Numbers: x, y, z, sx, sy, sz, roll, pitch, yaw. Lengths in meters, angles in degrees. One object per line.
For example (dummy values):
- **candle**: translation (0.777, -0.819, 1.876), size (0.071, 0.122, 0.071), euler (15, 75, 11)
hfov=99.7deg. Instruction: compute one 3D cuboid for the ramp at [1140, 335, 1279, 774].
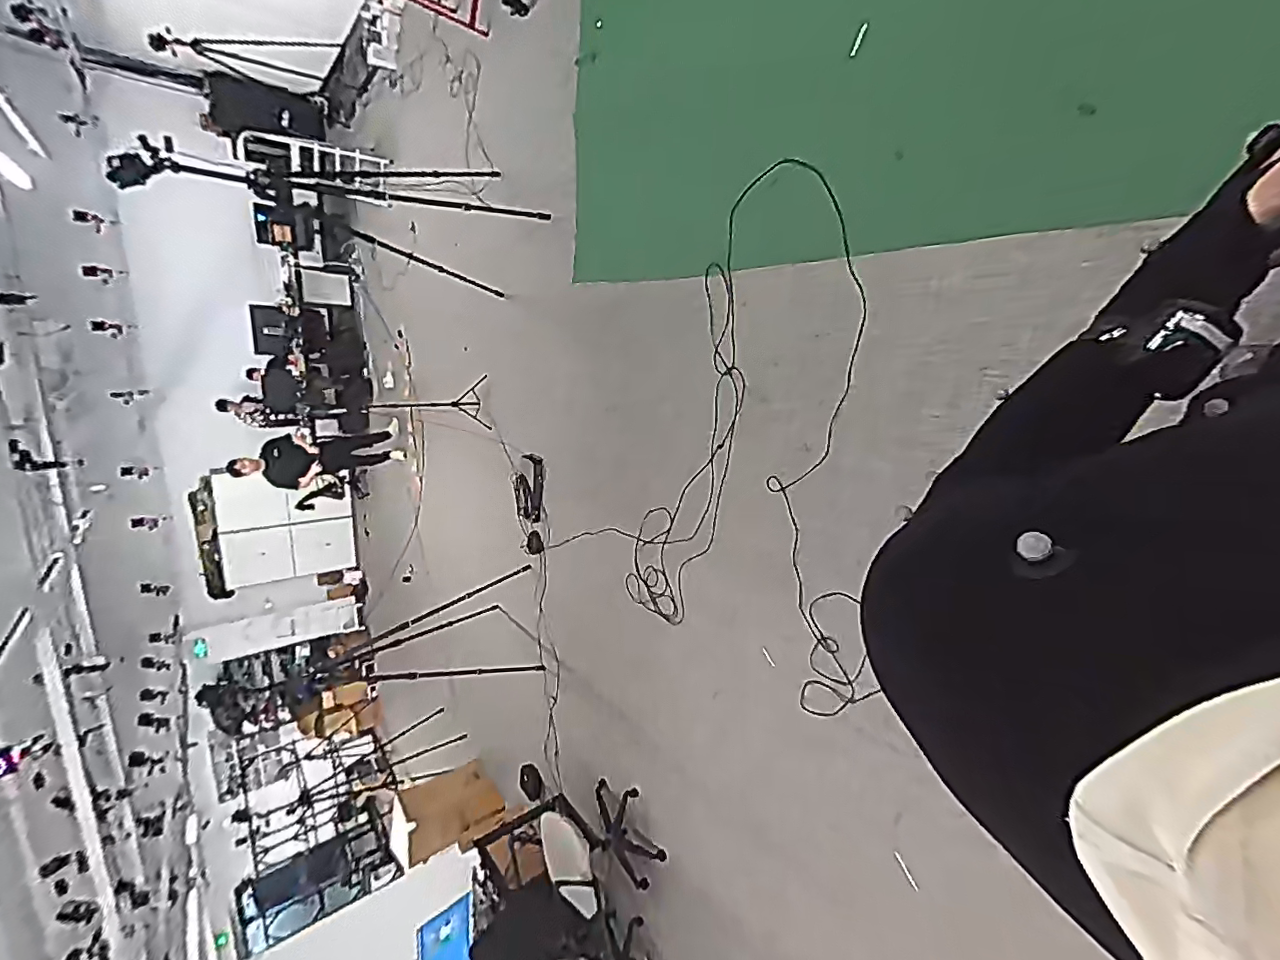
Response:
- **ramp**: translation (1.423, 0.213, 1.091), size (0.509, 0.206, 0.991), euler (14, 108, 49)
